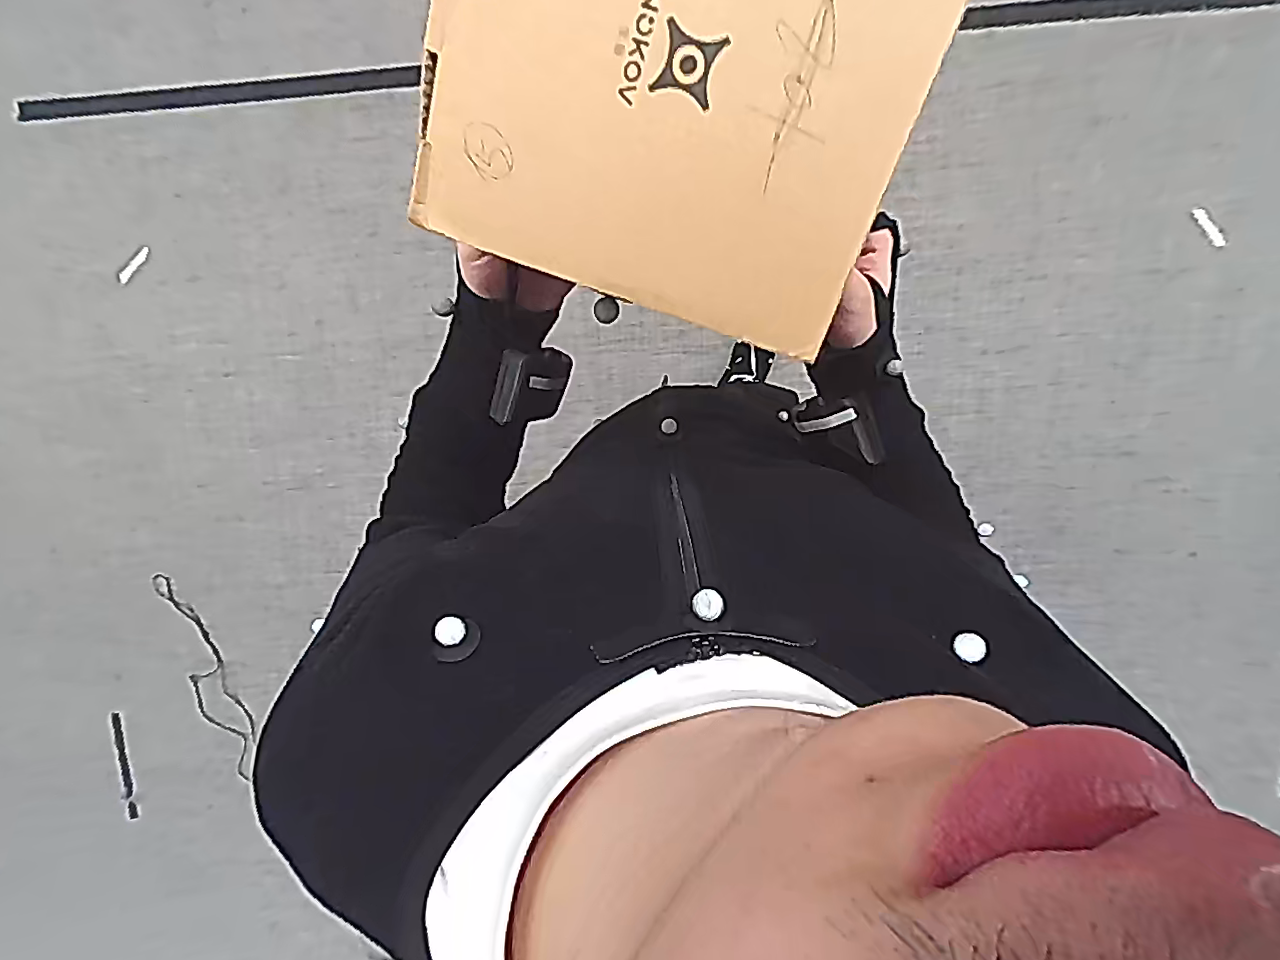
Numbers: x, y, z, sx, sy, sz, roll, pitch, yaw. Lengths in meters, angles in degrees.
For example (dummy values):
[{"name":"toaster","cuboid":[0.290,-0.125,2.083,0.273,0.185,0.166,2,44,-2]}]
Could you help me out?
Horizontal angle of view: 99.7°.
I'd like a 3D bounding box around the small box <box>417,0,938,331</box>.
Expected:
[{"name":"small box","cuboid":[0.018,-0.184,0.278,0.179,0.176,0.168,17,109,-2]}]
